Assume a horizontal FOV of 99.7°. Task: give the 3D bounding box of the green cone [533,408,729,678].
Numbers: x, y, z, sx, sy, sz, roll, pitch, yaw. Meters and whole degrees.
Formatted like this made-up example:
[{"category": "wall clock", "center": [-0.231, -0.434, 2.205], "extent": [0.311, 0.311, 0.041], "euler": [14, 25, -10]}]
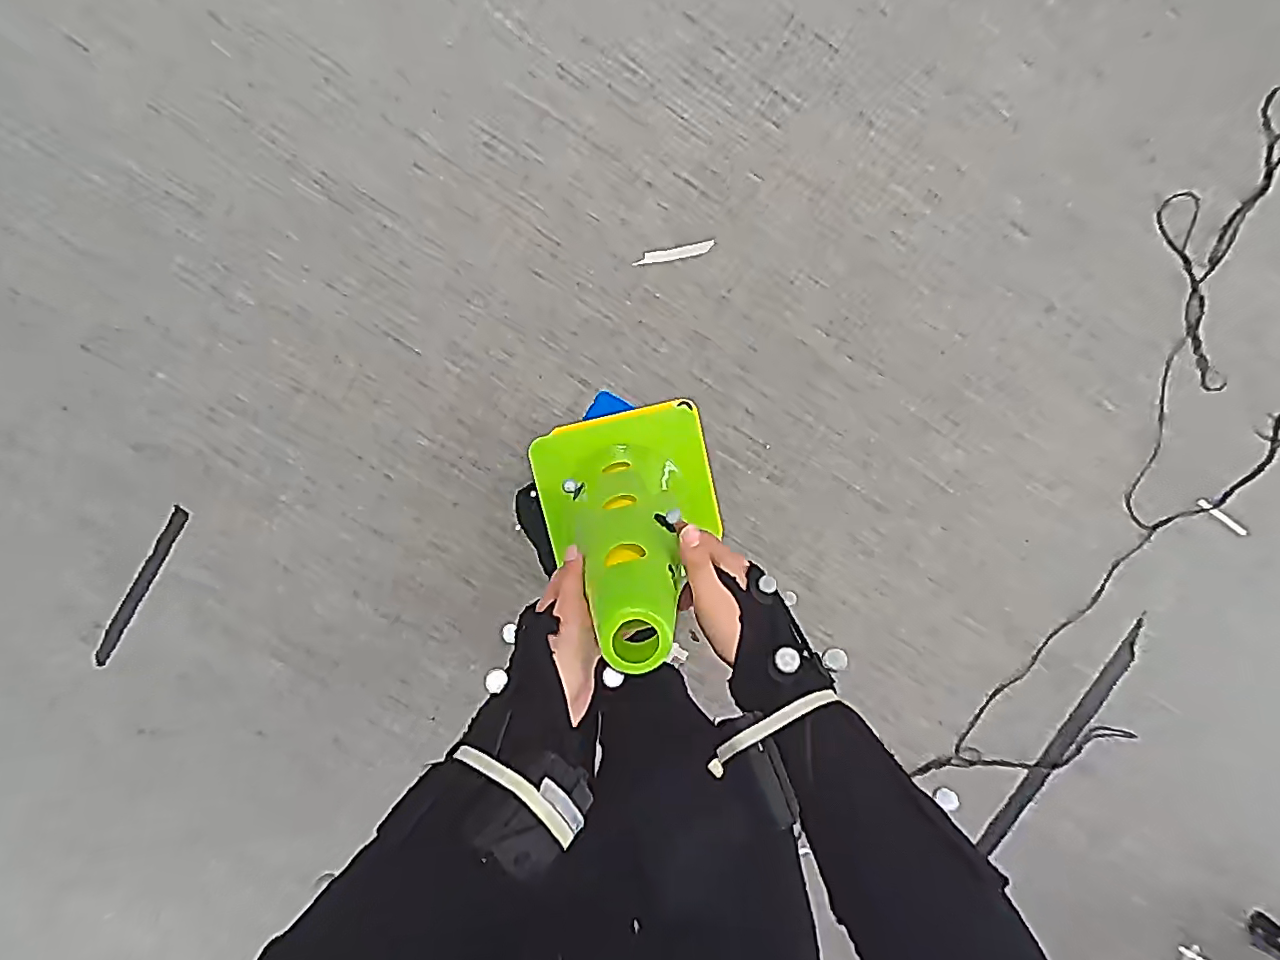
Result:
[{"category": "green cone", "center": [-0.006, 0.055, 0.462], "extent": [0.202, 0.368, 0.200], "euler": [-14, 99, 2]}]
